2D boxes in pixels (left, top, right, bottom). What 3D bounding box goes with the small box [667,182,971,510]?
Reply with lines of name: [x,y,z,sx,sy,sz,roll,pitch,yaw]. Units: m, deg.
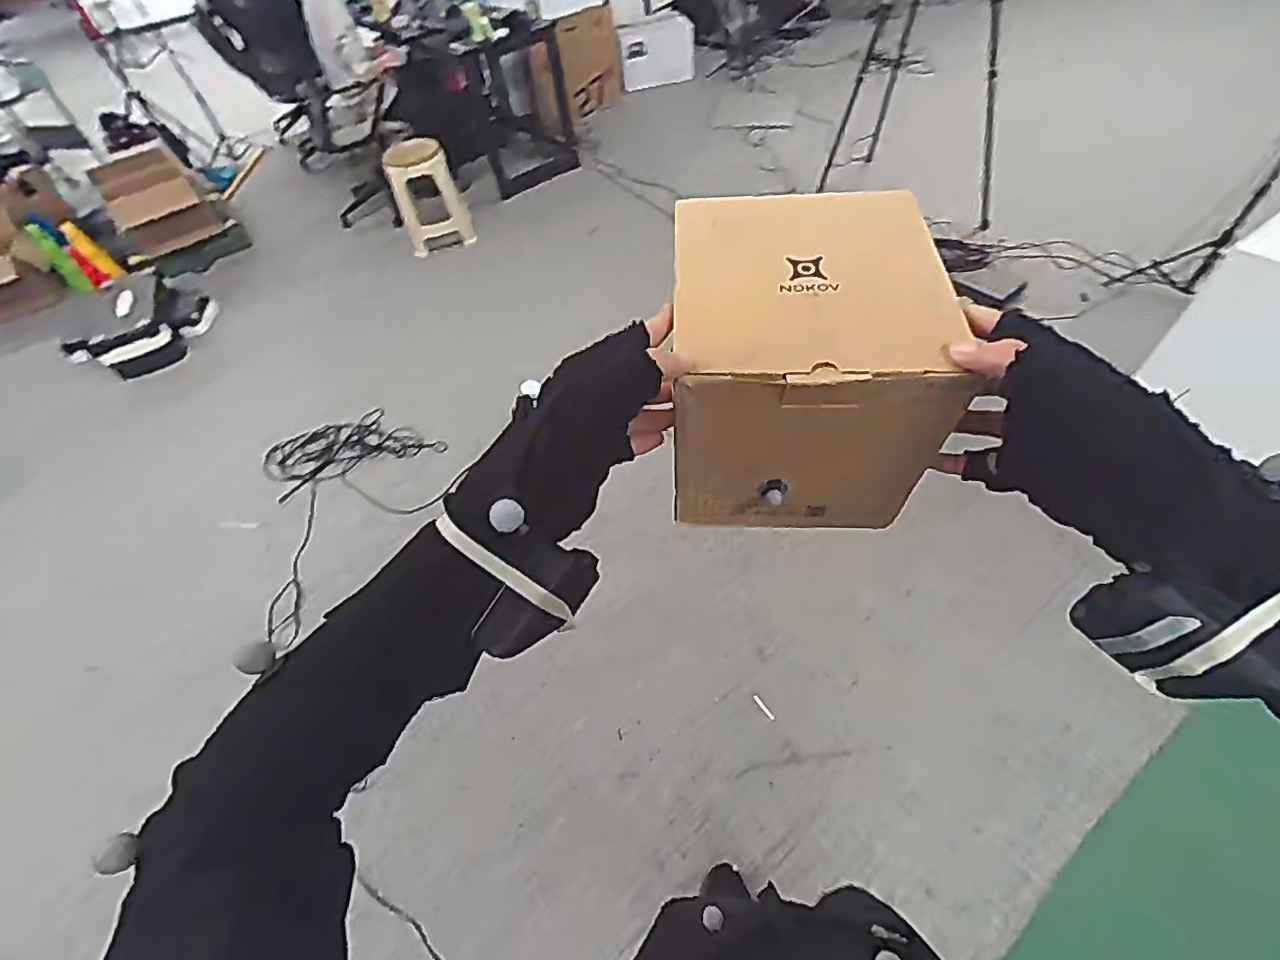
small box: [0.104,-0.095,0.407,0.168,0.176,0.179,-1,56,4]
